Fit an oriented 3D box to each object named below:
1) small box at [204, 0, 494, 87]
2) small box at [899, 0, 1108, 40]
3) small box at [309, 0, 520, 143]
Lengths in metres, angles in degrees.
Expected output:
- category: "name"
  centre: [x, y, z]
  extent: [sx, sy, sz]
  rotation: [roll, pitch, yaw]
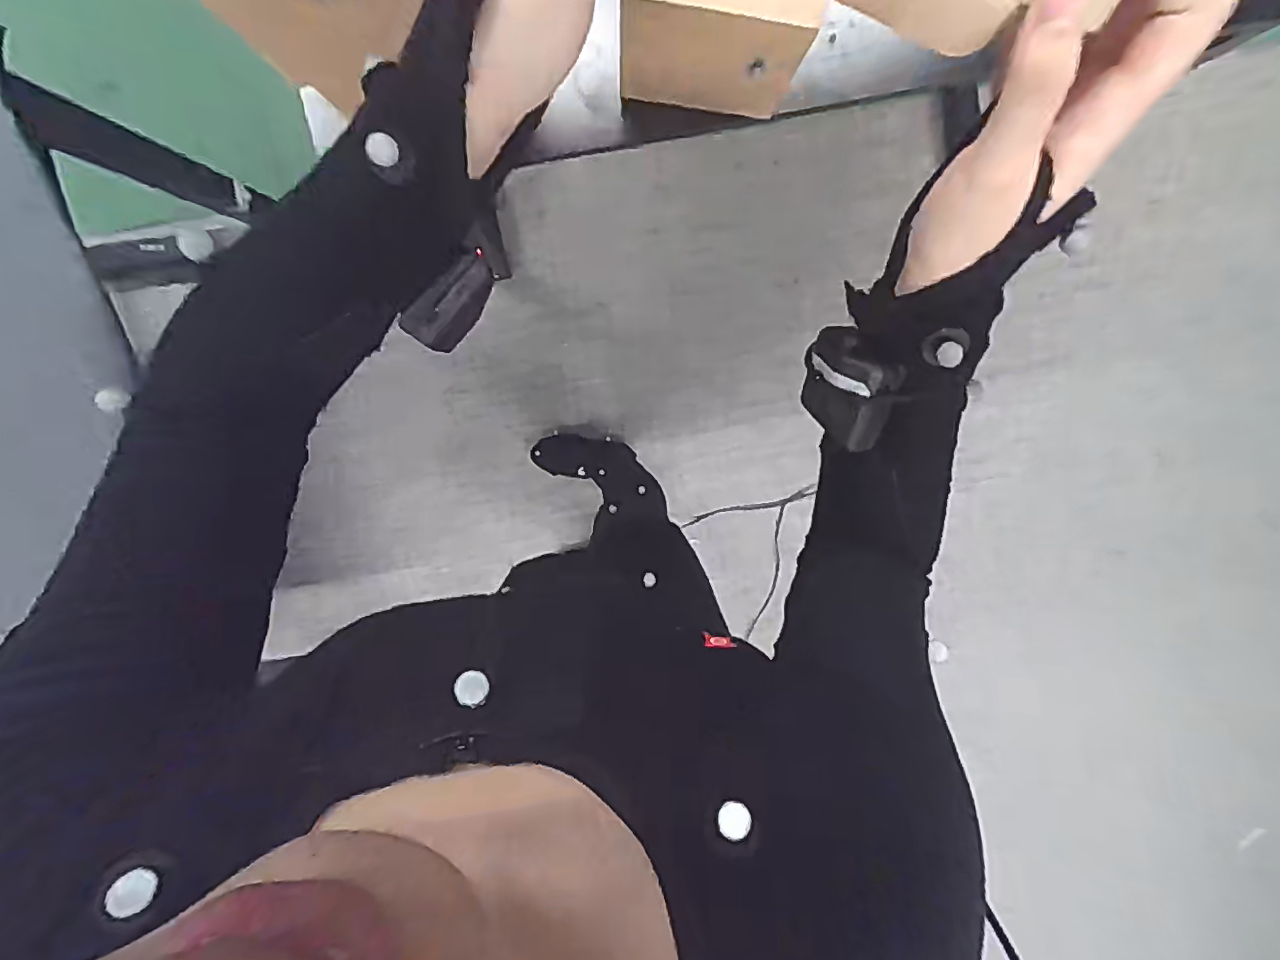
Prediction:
- category: "small box"
  centre: [-0.207, -0.403, 0.361]
  extent: [0.179, 0.176, 0.168]
  rotation: [-10, 102, 0]
- category: "small box"
  centre: [0.119, -0.298, 0.190]
  extent: [0.168, 0.176, 0.179]
  rotation: [16, 132, -9]
- category: "small box"
  centre: [-0.222, -0.450, 0.516]
  extent: [0.168, 0.176, 0.179]
  rotation: [-10, 101, -1]
